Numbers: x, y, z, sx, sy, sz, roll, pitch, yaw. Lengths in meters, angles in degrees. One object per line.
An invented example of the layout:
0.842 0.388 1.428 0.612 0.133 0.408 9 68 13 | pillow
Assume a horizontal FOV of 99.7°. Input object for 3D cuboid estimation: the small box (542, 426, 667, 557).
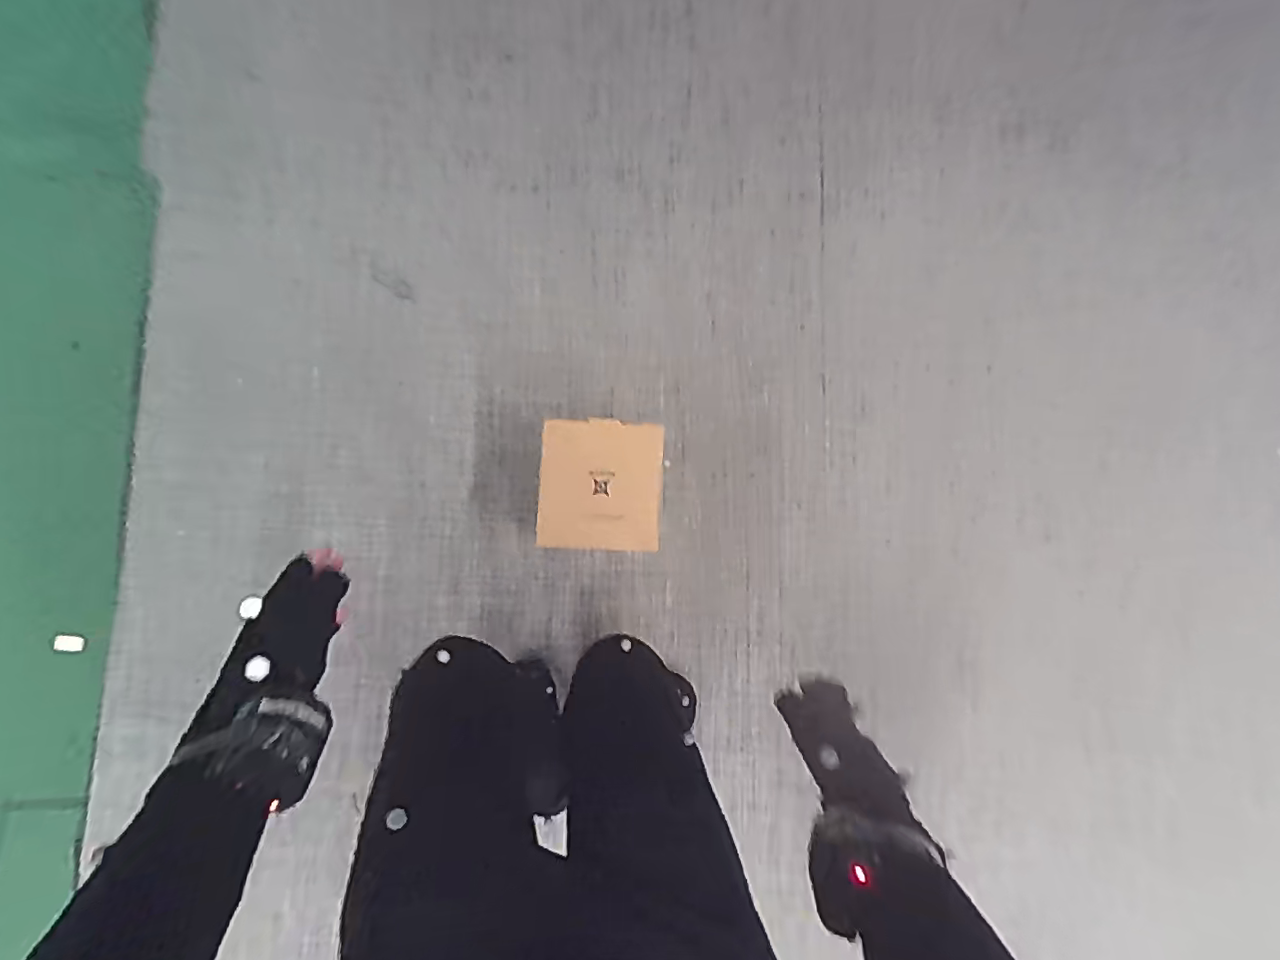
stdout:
-0.049 0.023 0.819 0.168 0.176 0.179 2 85 0 | small box
